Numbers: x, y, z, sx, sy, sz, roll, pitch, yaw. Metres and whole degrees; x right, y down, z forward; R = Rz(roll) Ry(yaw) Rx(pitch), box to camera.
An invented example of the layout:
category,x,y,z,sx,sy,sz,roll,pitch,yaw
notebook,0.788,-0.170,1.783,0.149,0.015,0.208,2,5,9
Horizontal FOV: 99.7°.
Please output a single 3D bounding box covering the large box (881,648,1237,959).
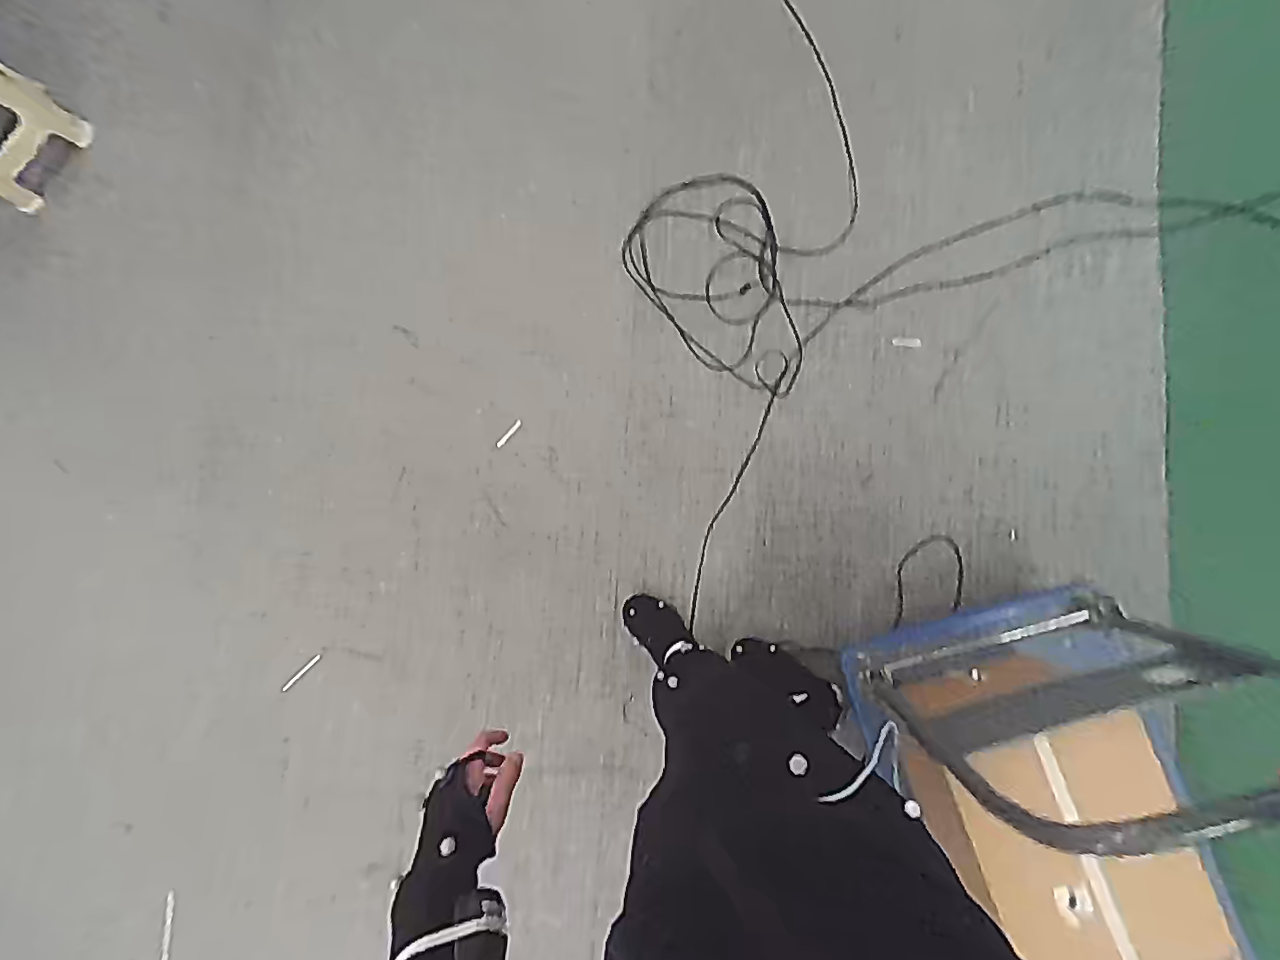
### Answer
category,x,y,z,sx,sy,sz,roll,pitch,yaw
large box,0.710,0.578,0.995,0.320,0.320,0.408,-19,84,5
